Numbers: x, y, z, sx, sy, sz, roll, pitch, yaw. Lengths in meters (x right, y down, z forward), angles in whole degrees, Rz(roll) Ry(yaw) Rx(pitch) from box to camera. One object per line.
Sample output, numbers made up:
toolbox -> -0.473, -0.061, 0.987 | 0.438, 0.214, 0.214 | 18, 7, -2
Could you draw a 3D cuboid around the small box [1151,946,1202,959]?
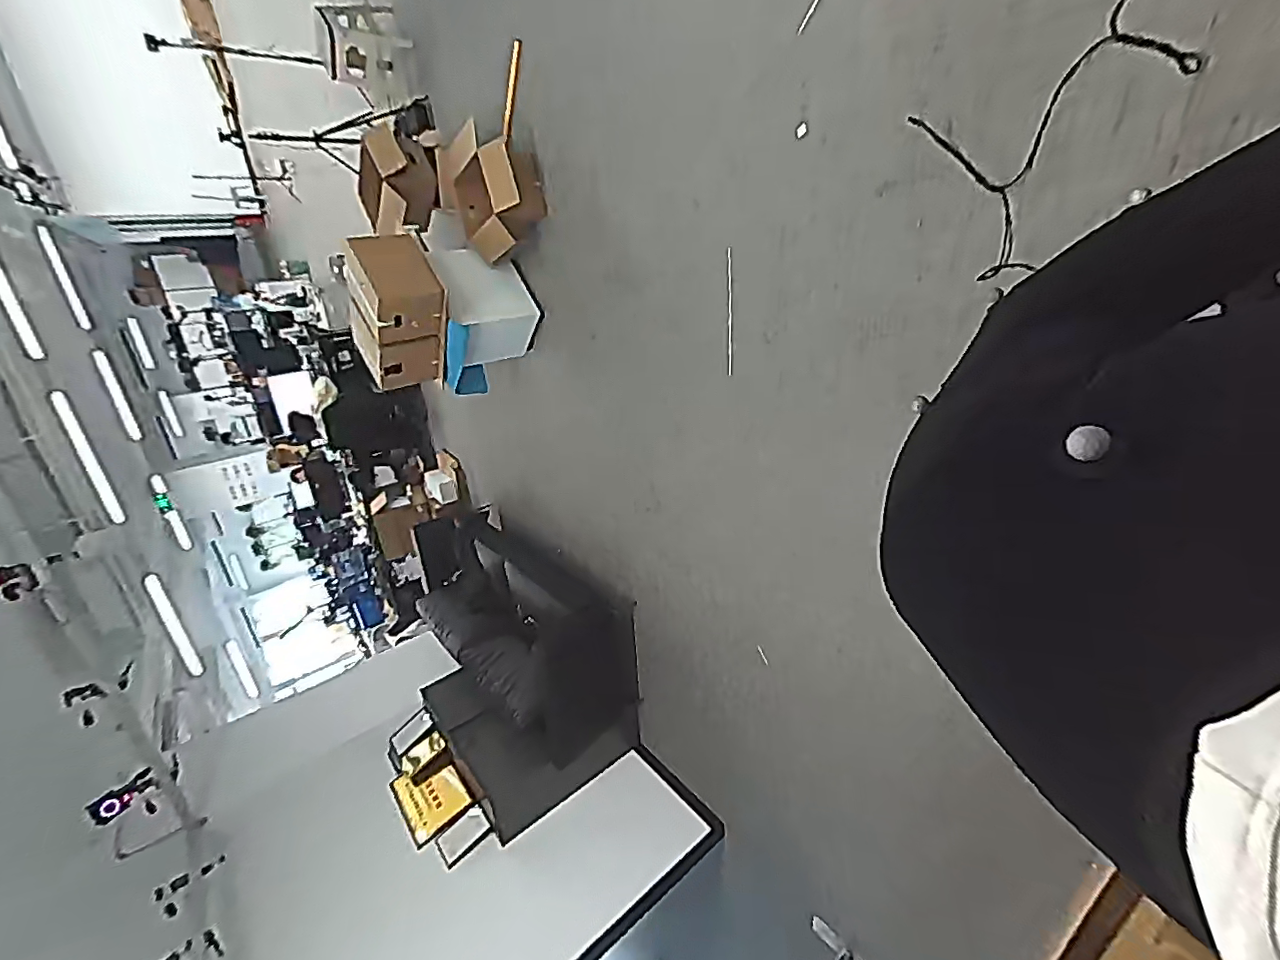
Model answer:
small box -> 0.970, 0.964, 0.930 | 0.179, 0.176, 0.168 | 24, 128, 46
